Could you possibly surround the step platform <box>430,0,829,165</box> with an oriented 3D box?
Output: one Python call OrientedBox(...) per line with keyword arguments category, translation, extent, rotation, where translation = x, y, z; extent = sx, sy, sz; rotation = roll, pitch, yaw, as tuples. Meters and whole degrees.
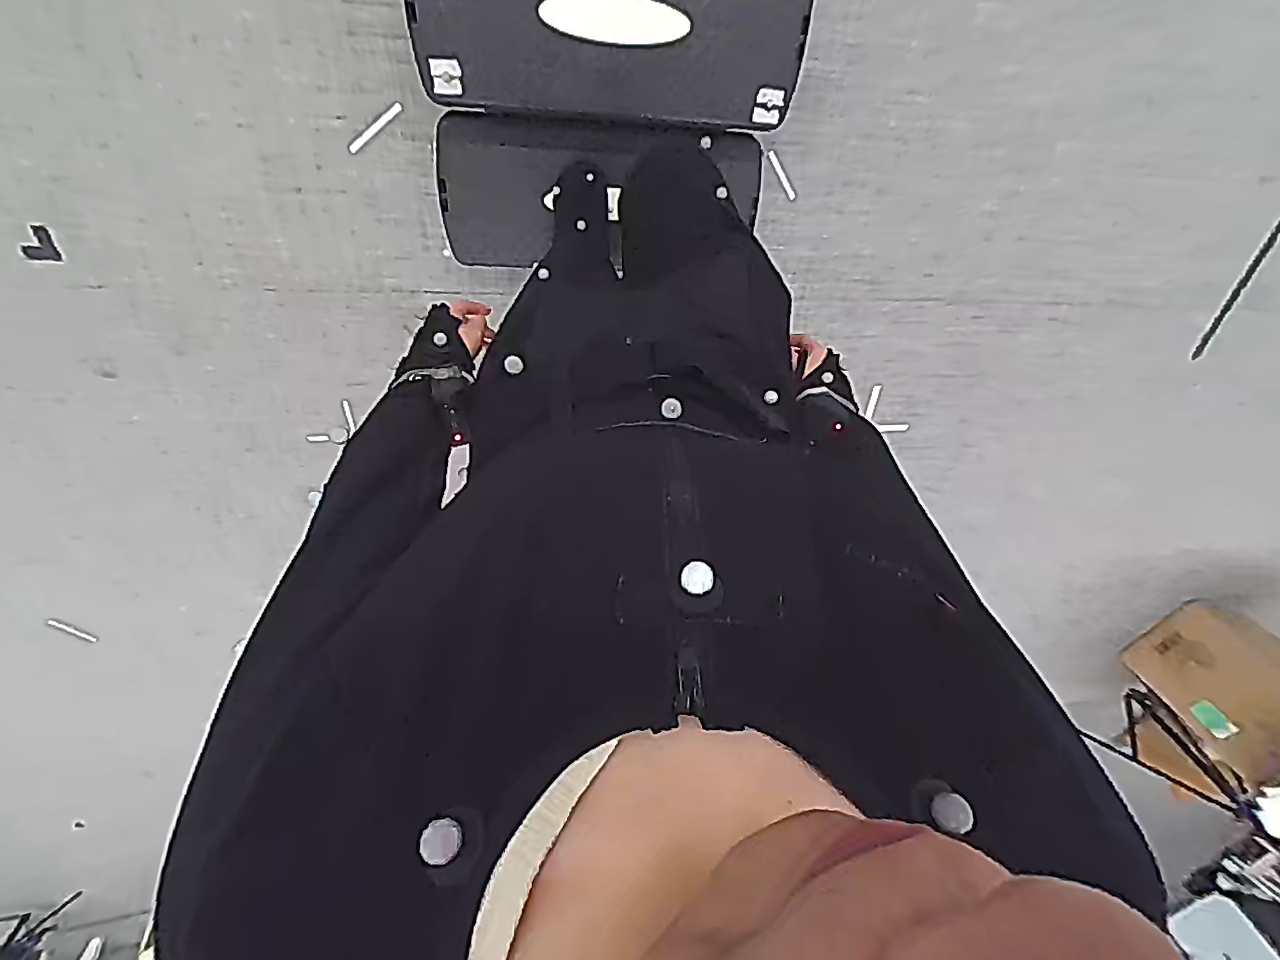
OrientedBox(category="step platform", translation=(-0.018, -0.782, 0.984), extent=(0.684, 0.204, 0.286), rotation=(2, 123, -11))
